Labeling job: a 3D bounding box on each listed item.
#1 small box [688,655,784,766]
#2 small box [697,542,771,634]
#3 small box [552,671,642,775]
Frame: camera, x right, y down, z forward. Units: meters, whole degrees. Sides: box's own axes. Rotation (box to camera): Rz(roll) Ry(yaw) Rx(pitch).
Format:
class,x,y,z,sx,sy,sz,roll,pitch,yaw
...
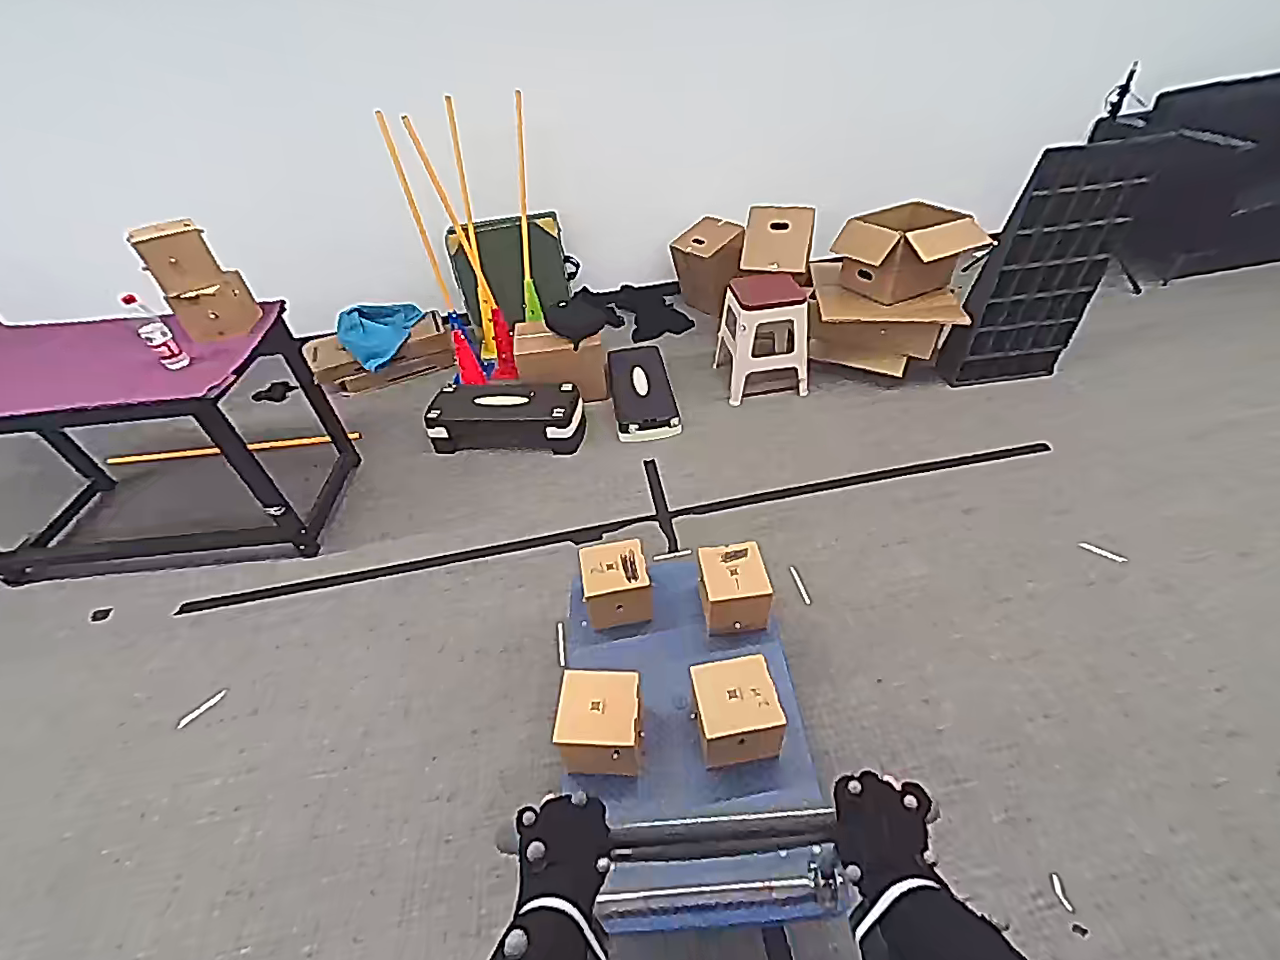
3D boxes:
class,x,y,z,sx,sy,sz,roll,pitch,yaw
small box,0.213,0.527,1.230,0.179,0.176,0.168,-9,43,-3
small box,0.249,0.295,1.475,0.168,0.176,0.179,-7,44,-1
small box,-0.090,0.556,1.233,0.179,0.176,0.168,0,43,4
